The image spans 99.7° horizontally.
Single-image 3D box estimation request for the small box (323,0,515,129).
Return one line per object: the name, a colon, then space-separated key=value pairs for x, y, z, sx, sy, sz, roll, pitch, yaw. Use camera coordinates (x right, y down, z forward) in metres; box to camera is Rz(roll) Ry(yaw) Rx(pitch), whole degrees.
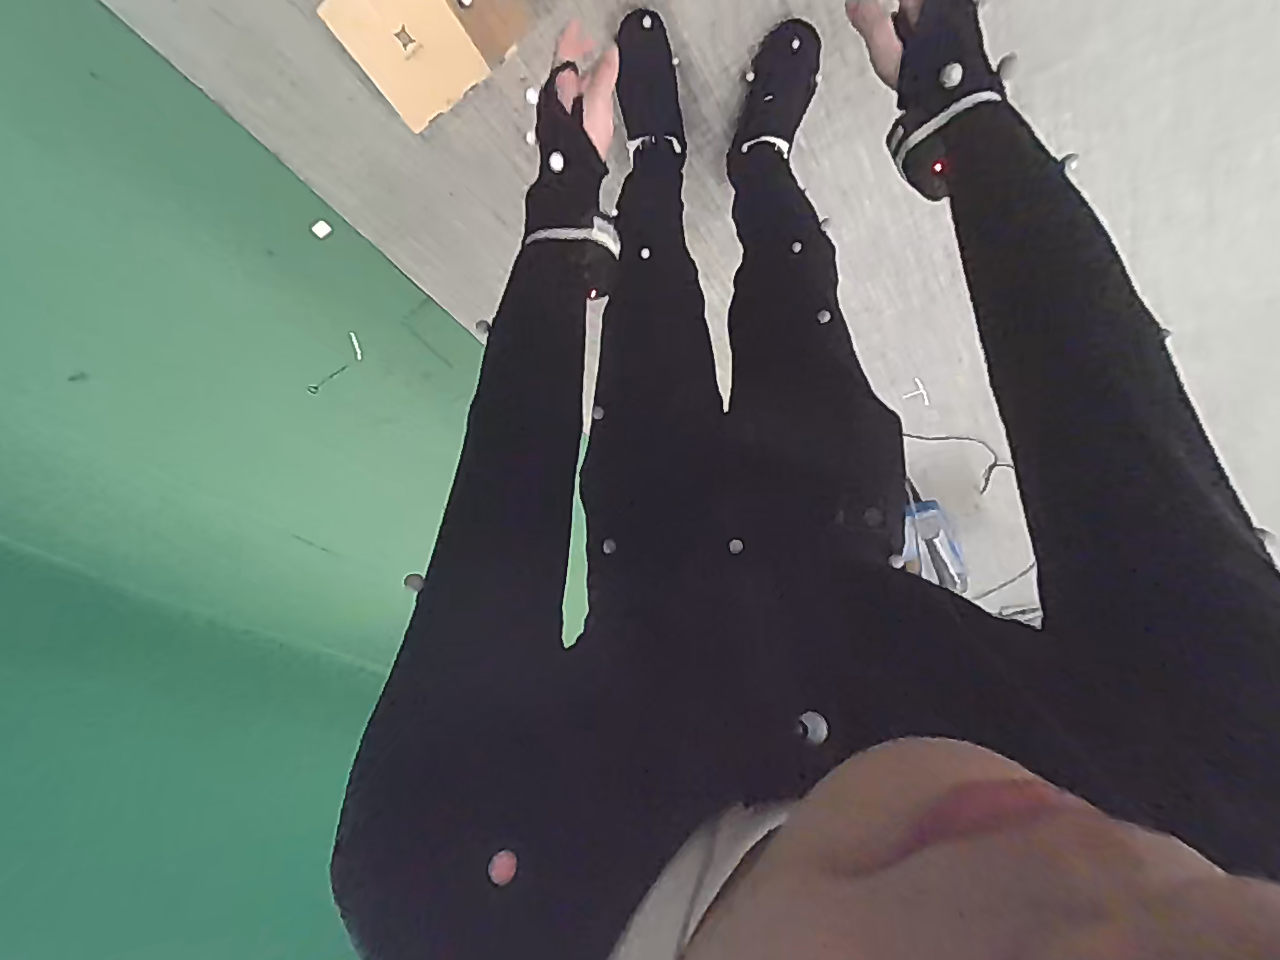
small box: x=-0.311 y=-0.675 z=0.796 sx=0.168 sy=0.176 sz=0.179 roll=-17 pitch=139 yaw=26
